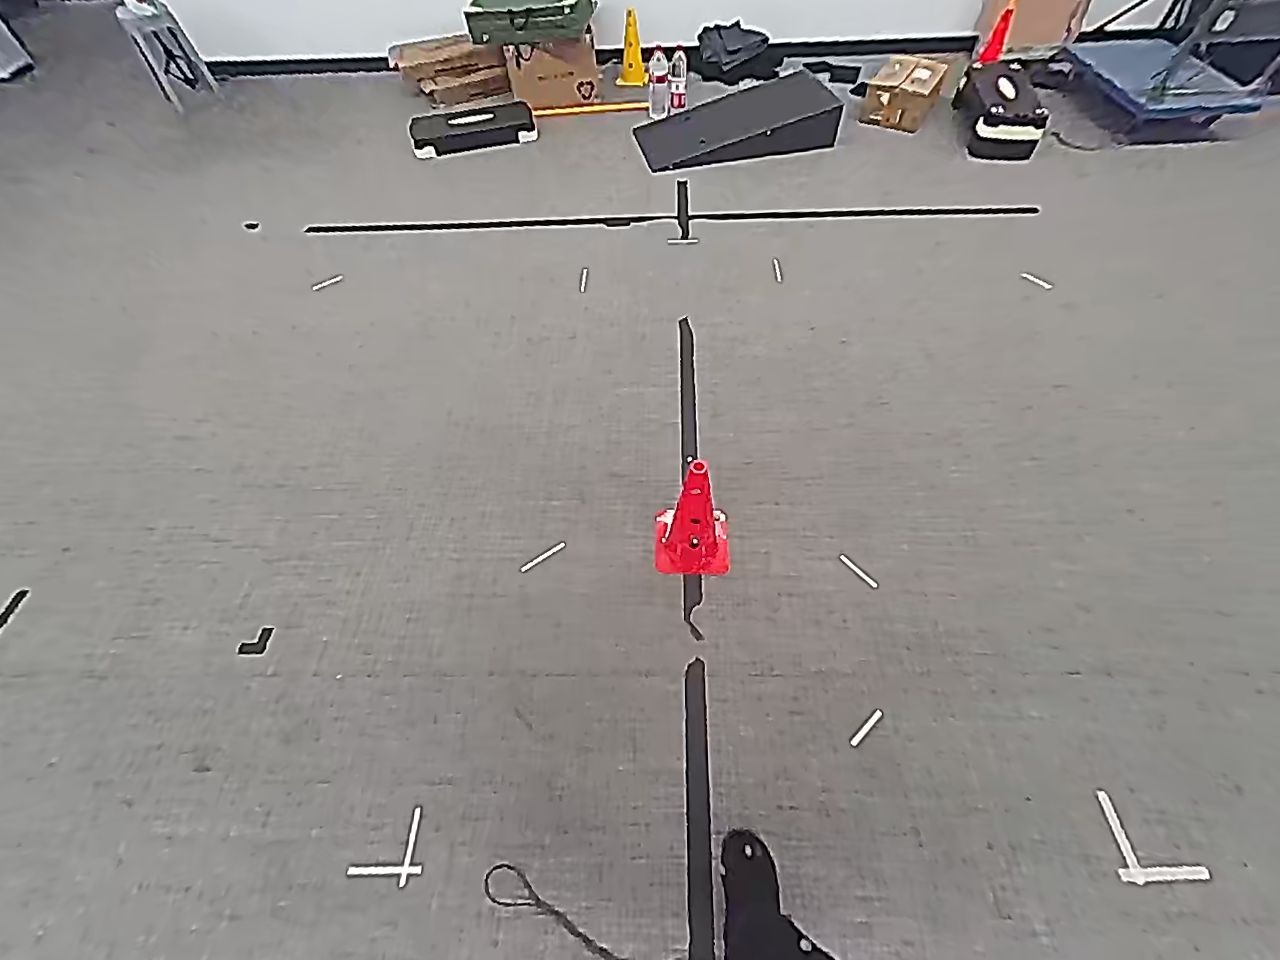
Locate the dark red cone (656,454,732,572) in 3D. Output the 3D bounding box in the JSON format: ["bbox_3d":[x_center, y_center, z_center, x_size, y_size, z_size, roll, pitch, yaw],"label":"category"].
[{"bbox_3d":[0.137,0.066,1.352,0.201,0.394,0.202,-1,55,3],"label":"dark red cone"}]
